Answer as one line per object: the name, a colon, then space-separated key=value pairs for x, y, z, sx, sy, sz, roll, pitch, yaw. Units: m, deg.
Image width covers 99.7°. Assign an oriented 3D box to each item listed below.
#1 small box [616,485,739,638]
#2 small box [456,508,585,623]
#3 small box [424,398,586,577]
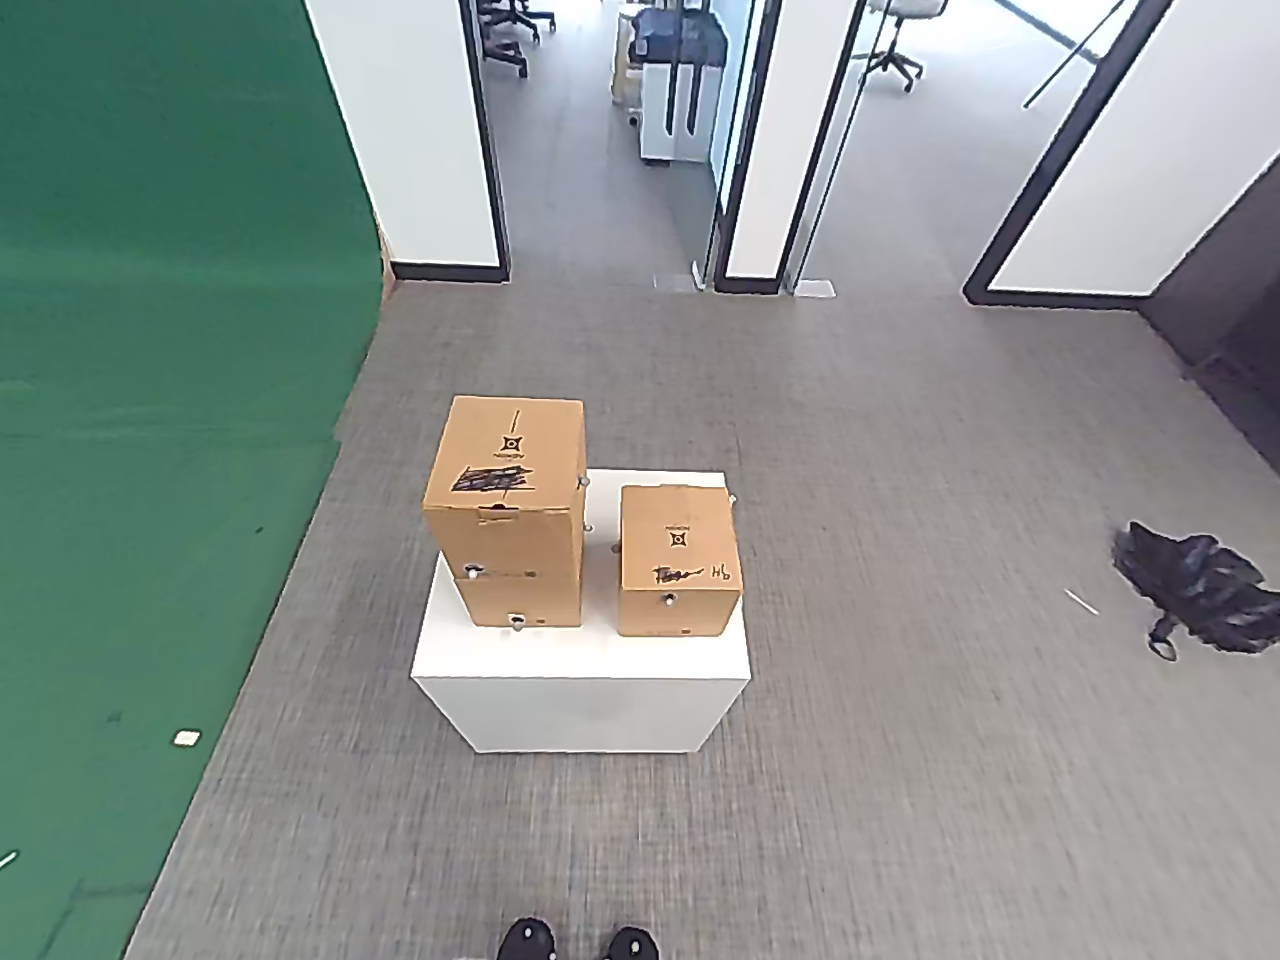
small box: x=0.048 y=0.129 z=0.845 sx=0.168 sy=0.176 sz=0.179 roll=2 pitch=51 yaw=-3
small box: x=-0.170 y=0.105 z=0.830 sx=0.168 sy=0.176 sz=0.179 roll=0 pitch=54 yaw=-4
small box: x=-0.161 y=0.014 z=0.713 sx=0.168 sy=0.176 sz=0.179 roll=2 pitch=51 yaw=-2
